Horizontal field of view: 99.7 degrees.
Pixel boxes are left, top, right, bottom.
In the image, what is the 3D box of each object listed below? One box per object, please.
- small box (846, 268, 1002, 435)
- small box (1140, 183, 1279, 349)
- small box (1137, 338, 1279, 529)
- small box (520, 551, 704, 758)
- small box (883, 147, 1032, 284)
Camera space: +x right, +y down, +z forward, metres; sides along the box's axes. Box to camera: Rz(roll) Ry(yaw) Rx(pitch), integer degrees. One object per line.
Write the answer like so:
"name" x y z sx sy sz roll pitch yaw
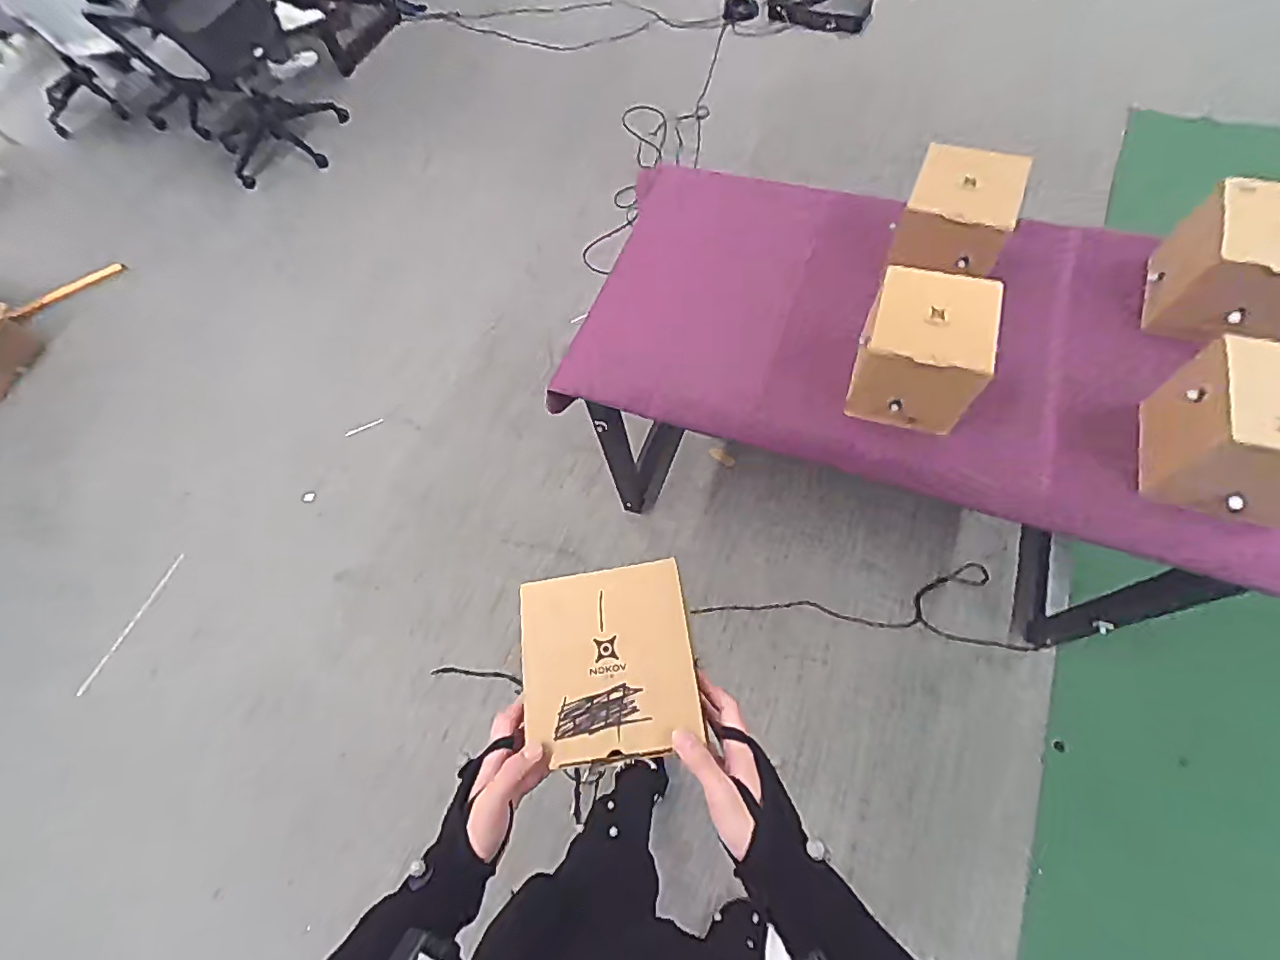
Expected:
"small box" 0.443 -0.200 0.863 0.168 0.176 0.179 16 67 14
"small box" 0.950 -0.328 0.859 0.168 0.176 0.179 19 71 16
"small box" 0.833 -0.059 0.742 0.168 0.176 0.179 17 67 17
"small box" -0.025 0.195 0.593 0.168 0.176 0.179 -9 64 4
"small box" 0.558 -0.453 0.972 0.168 0.176 0.179 21 69 16
